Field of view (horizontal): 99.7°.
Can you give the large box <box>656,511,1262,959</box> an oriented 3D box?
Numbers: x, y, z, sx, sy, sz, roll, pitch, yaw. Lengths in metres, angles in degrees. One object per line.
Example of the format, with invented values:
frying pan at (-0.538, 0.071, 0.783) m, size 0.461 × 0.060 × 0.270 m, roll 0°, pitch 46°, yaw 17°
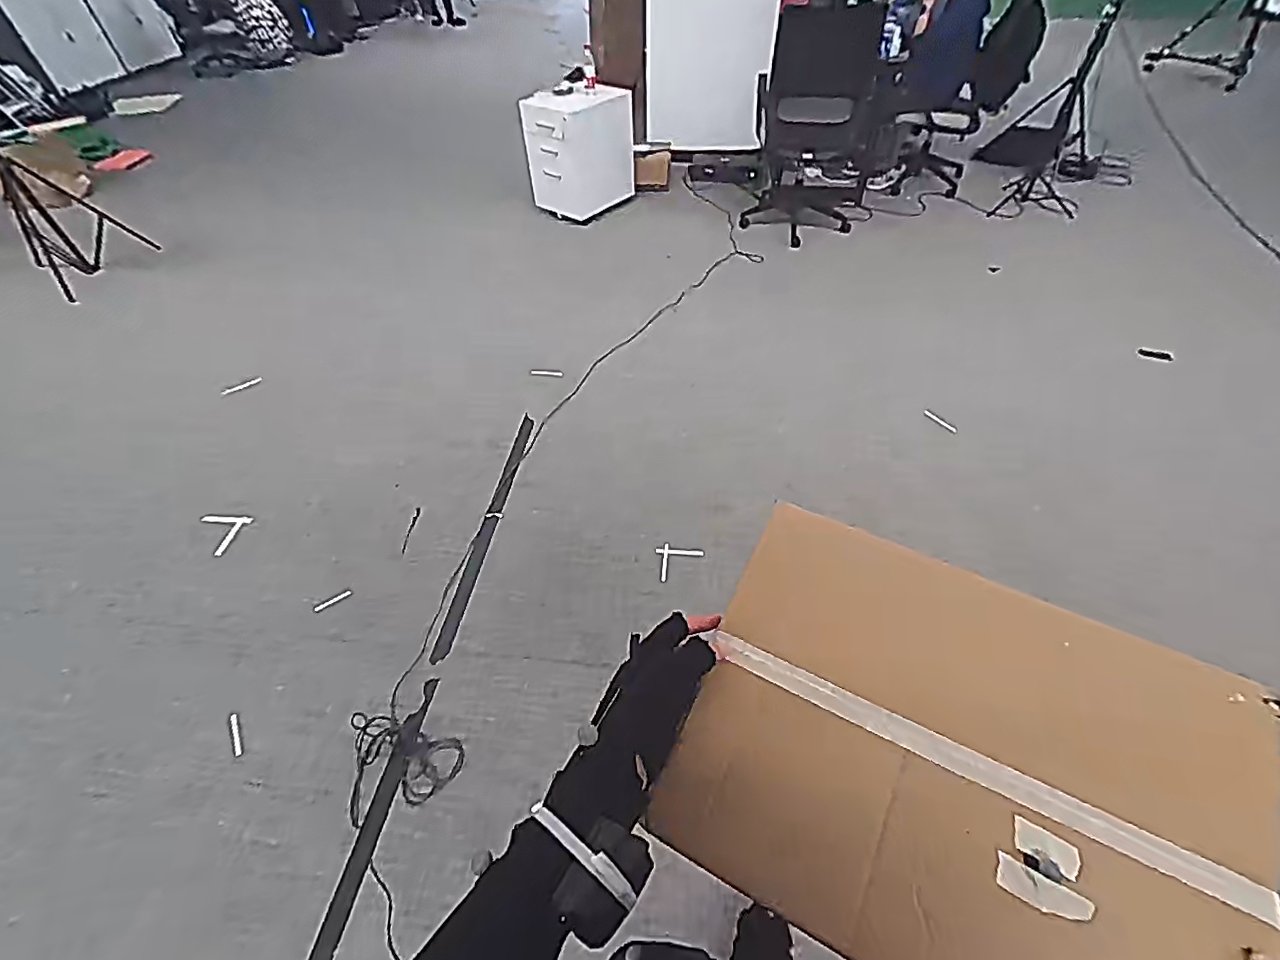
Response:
large box at (0.265, 0.291, 0.563) m, size 0.408 × 0.320 × 0.320 m, roll 22°, pitch 66°, yaw 18°
